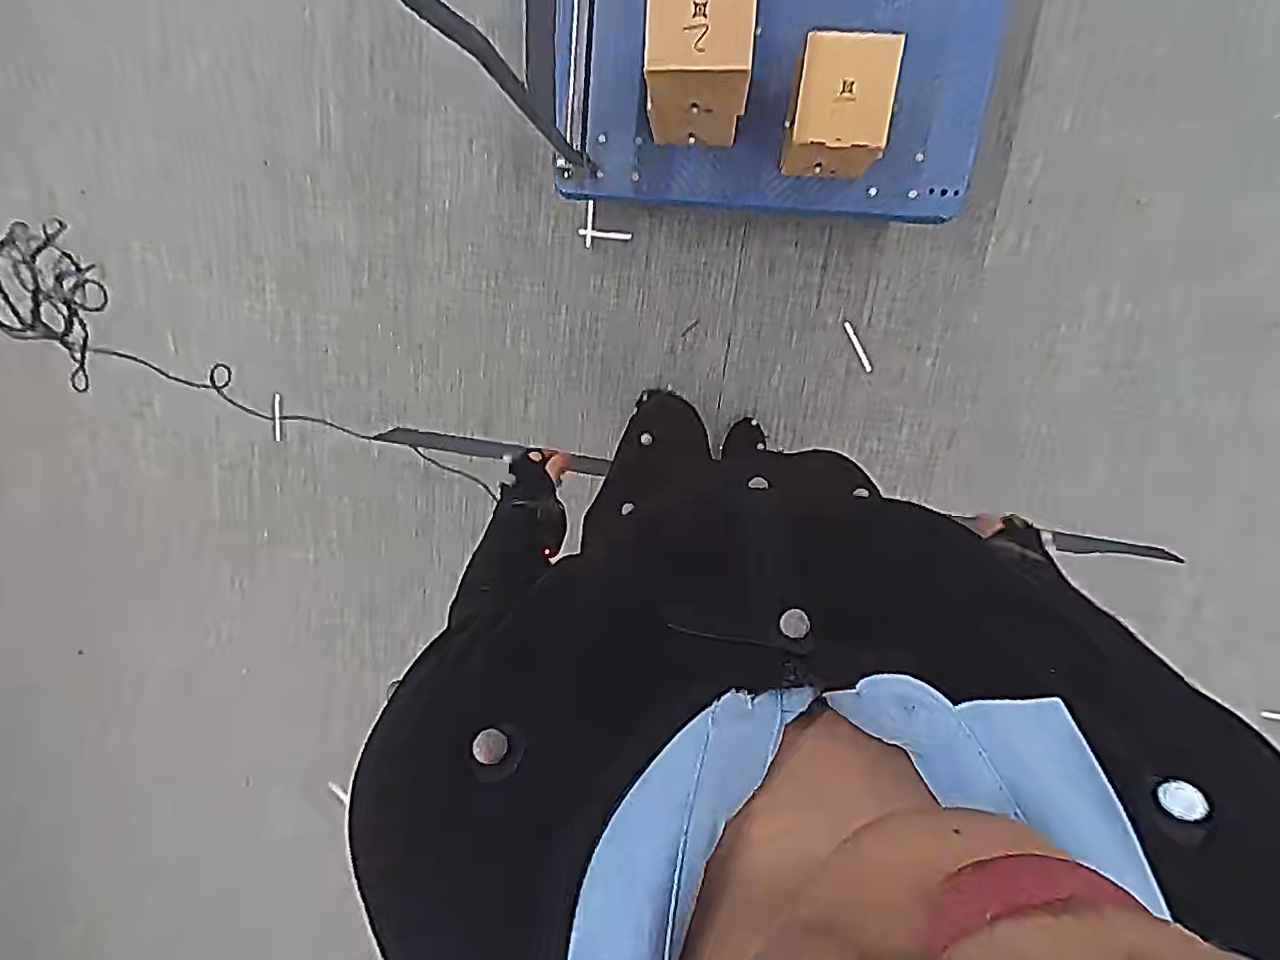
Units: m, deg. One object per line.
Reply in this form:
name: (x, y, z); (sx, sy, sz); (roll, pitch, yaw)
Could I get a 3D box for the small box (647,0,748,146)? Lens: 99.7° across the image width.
small box: (0.108, -0.772, 1.035); (0.168, 0.176, 0.179); (6, 104, 6)

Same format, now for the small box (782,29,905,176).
small box: (0.372, -0.702, 1.022); (0.168, 0.176, 0.179); (7, 104, 5)
